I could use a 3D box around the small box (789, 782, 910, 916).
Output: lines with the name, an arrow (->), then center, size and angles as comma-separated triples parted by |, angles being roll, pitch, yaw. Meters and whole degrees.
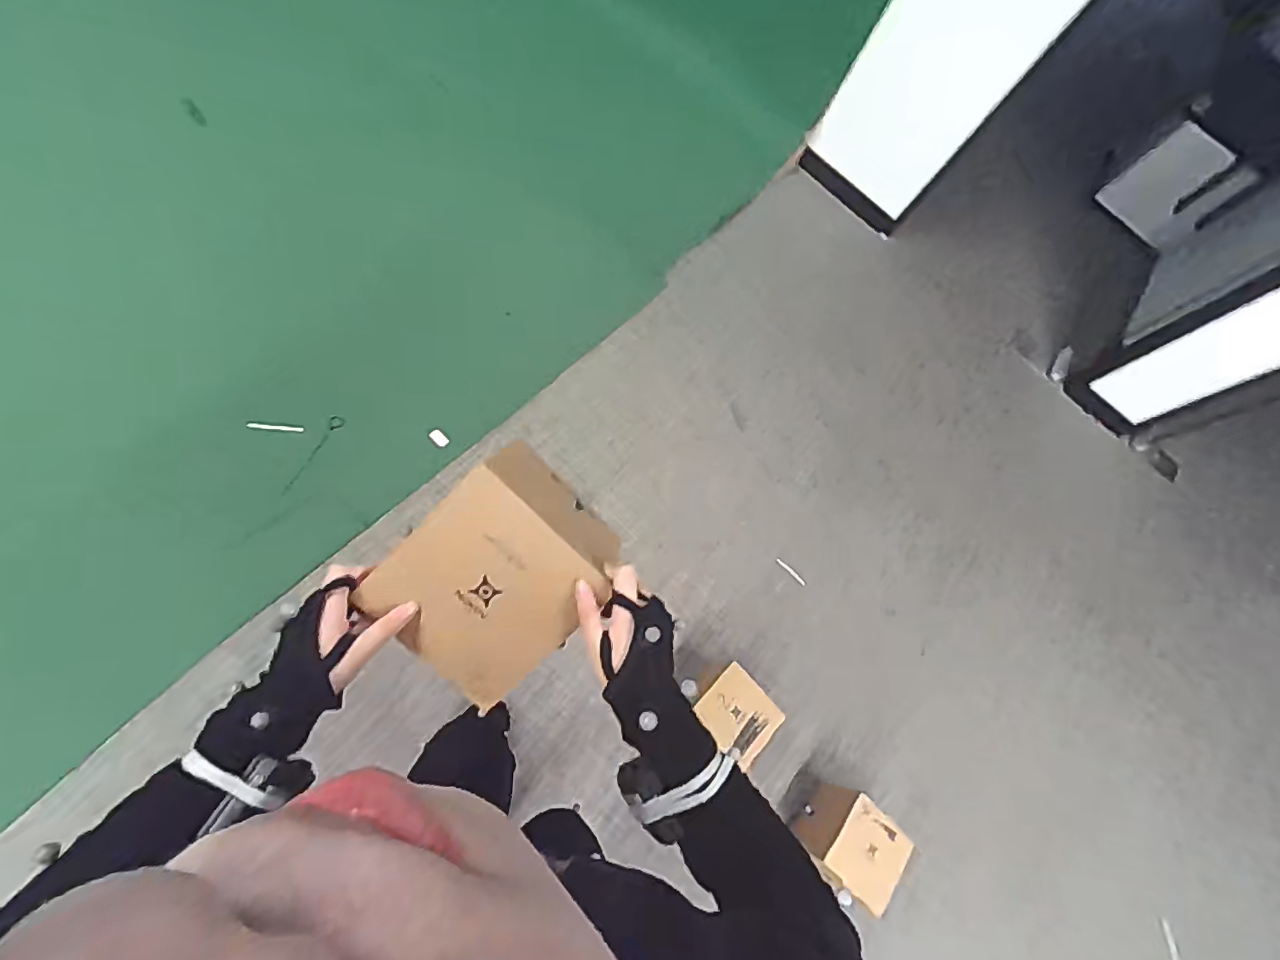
small box -> 0.475, 0.845, 1.259 | 0.168, 0.176, 0.179 | 46, 66, 4
